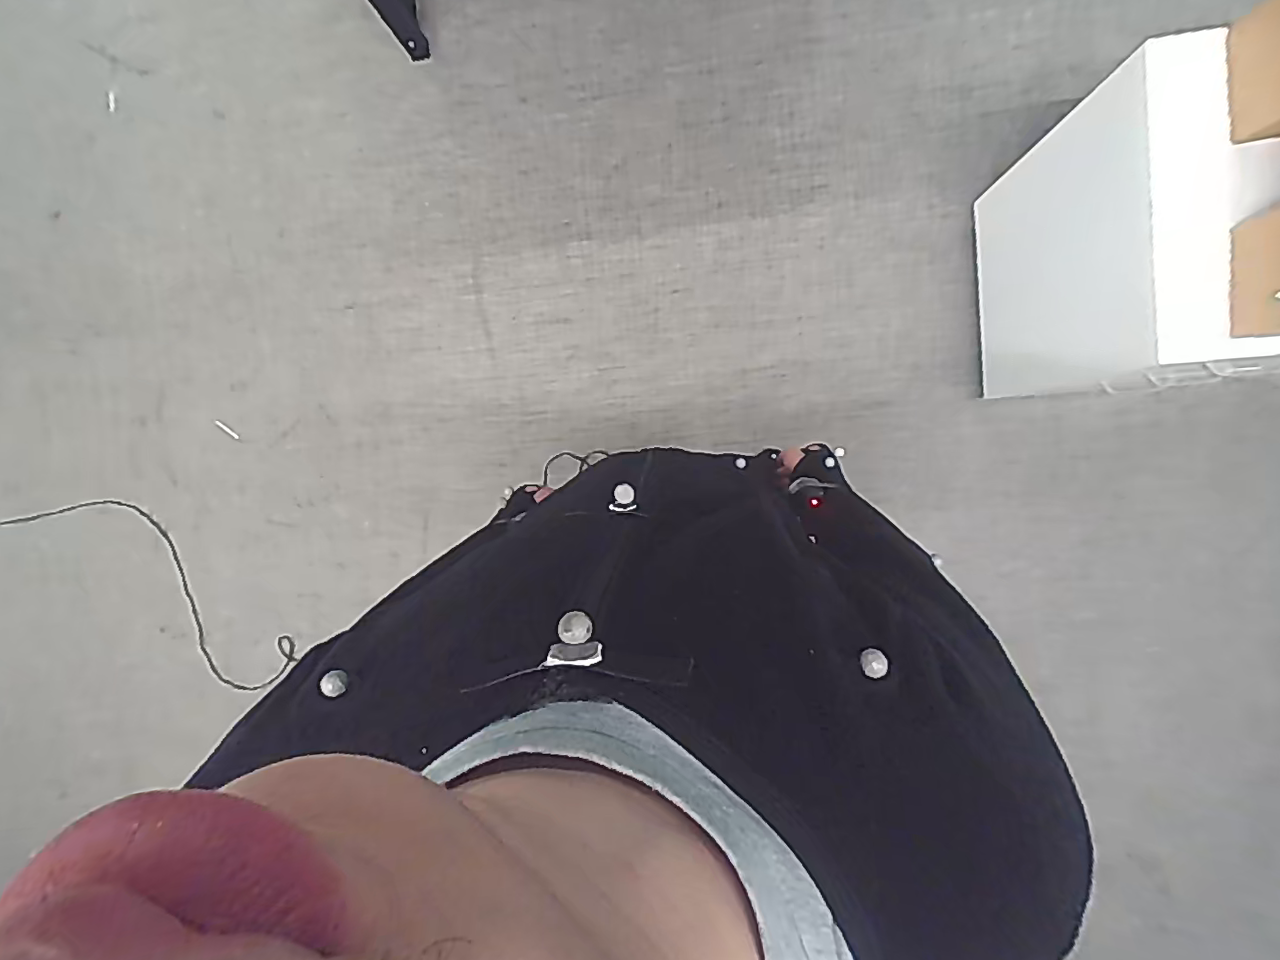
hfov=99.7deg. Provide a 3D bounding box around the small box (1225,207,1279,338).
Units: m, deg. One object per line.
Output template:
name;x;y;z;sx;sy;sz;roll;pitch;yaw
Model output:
small box;0.980;-0.302;0.752;0.168;0.176;0.179;-3;91;6

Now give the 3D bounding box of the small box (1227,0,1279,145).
small box;0.965;-0.599;0.735;0.168;0.176;0.179;-6;94;8
